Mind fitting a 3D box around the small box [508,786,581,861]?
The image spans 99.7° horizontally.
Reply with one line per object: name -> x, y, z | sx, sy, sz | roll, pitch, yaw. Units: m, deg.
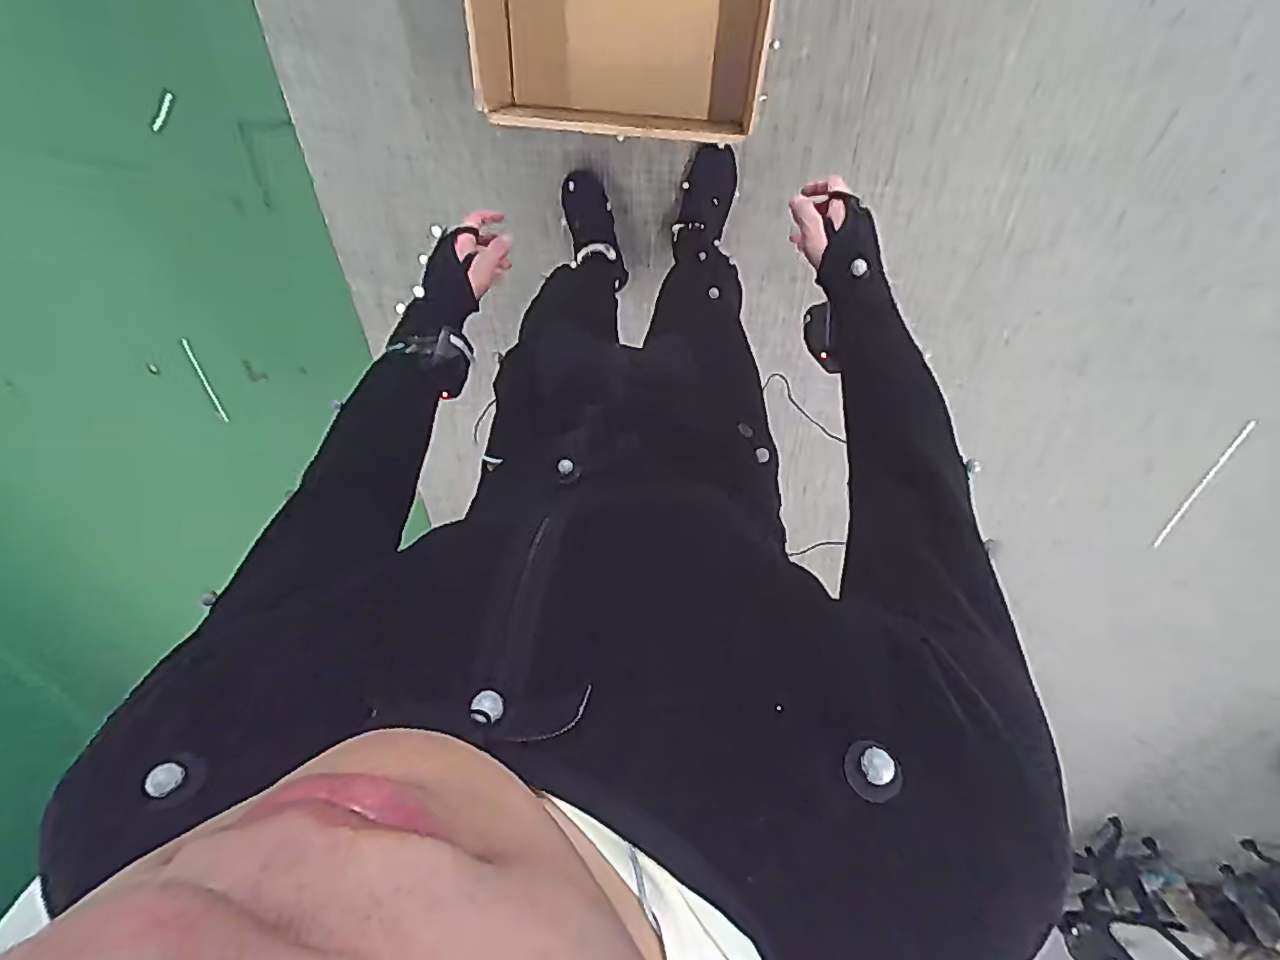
small box -> -0.310, 1.138, 1.794 | 0.168, 0.176, 0.179 | -8, 127, 15
